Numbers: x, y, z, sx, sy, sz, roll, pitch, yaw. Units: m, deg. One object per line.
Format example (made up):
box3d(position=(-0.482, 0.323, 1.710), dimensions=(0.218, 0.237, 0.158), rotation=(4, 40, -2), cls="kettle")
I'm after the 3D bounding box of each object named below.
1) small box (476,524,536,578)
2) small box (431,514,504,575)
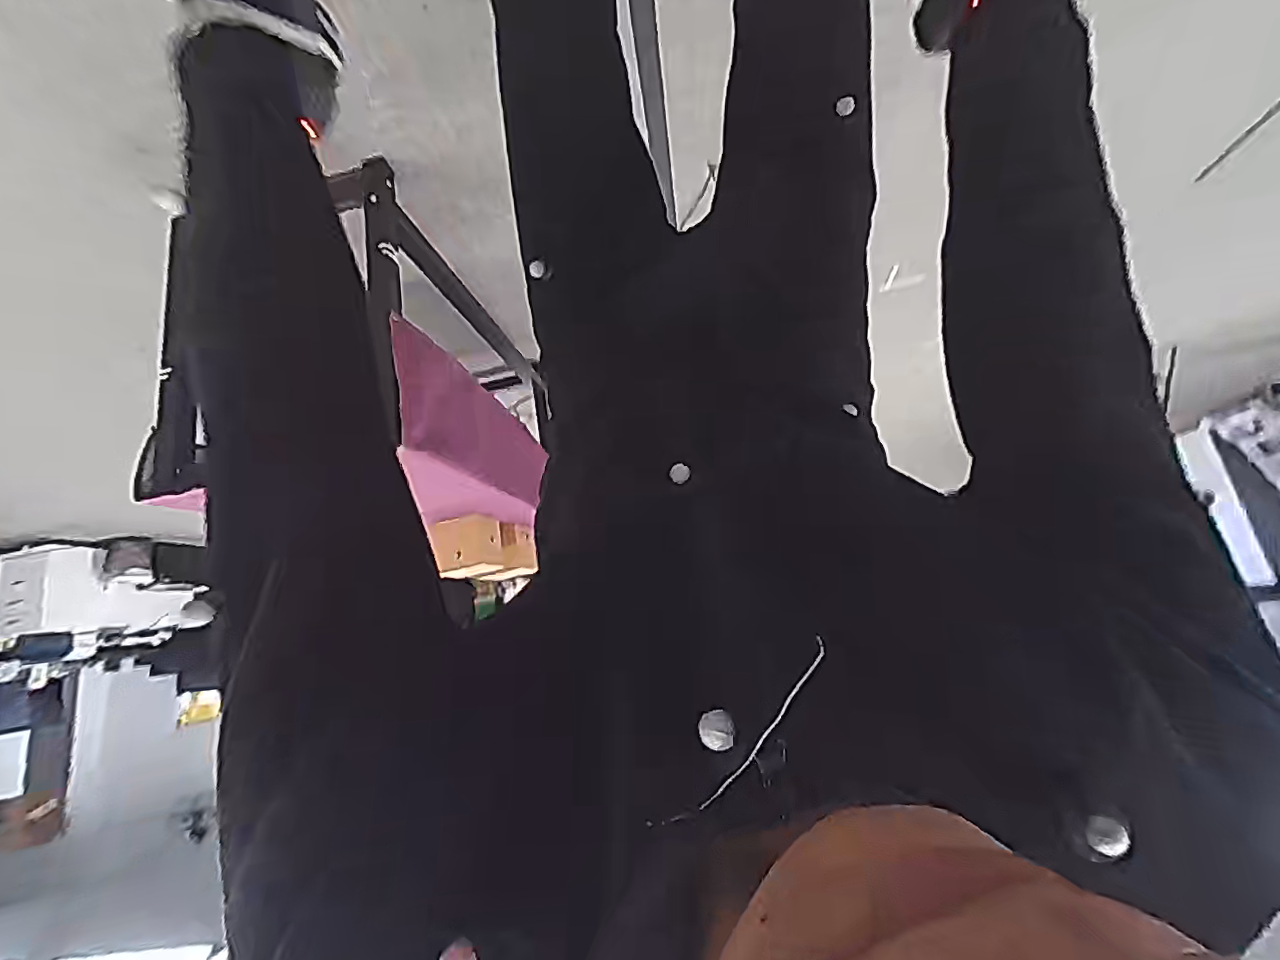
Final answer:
box3d(position=(-0.515, 0.274, 2.070), dimensions=(0.179, 0.176, 0.168), rotation=(-13, 166, 10), cls="small box")
box3d(position=(-0.578, 0.218, 1.809), dimensions=(0.179, 0.176, 0.168), rotation=(-12, 165, 8), cls="small box")
